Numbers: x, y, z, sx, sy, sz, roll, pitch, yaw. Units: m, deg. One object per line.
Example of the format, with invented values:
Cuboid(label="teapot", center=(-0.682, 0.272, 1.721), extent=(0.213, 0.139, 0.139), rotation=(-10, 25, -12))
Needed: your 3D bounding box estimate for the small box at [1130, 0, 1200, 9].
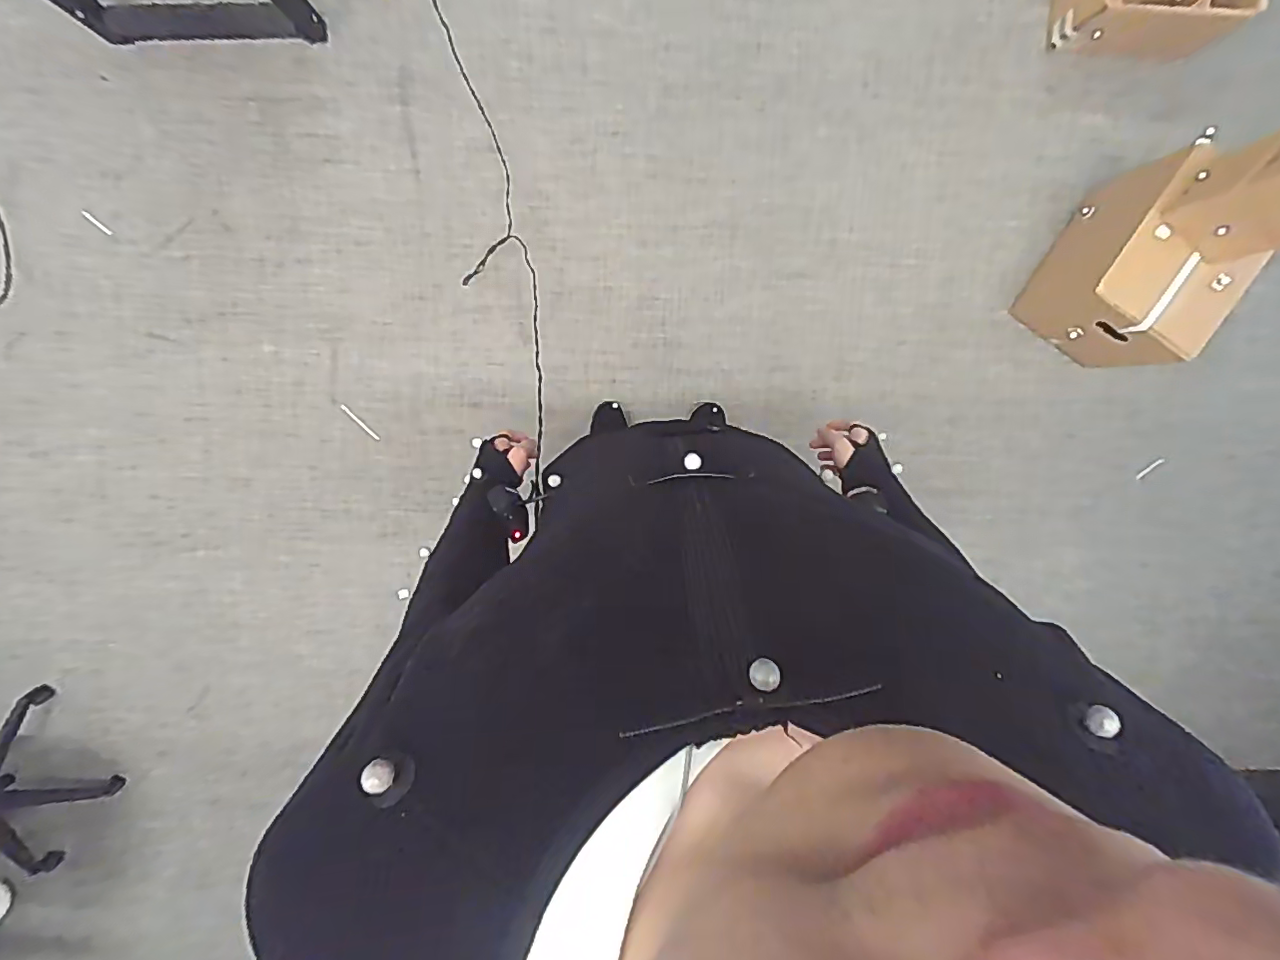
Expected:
Cuboid(label="small box", center=(1.353, -1.296, 1.318), extent=(0.168, 0.176, 0.179), rotation=(-3, 98, 1))

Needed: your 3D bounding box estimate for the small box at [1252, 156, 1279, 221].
Cuboid(label="small box", center=(1.327, -0.573, 0.994), extent=(0.179, 0.176, 0.168), rotation=(42, 96, -4))
